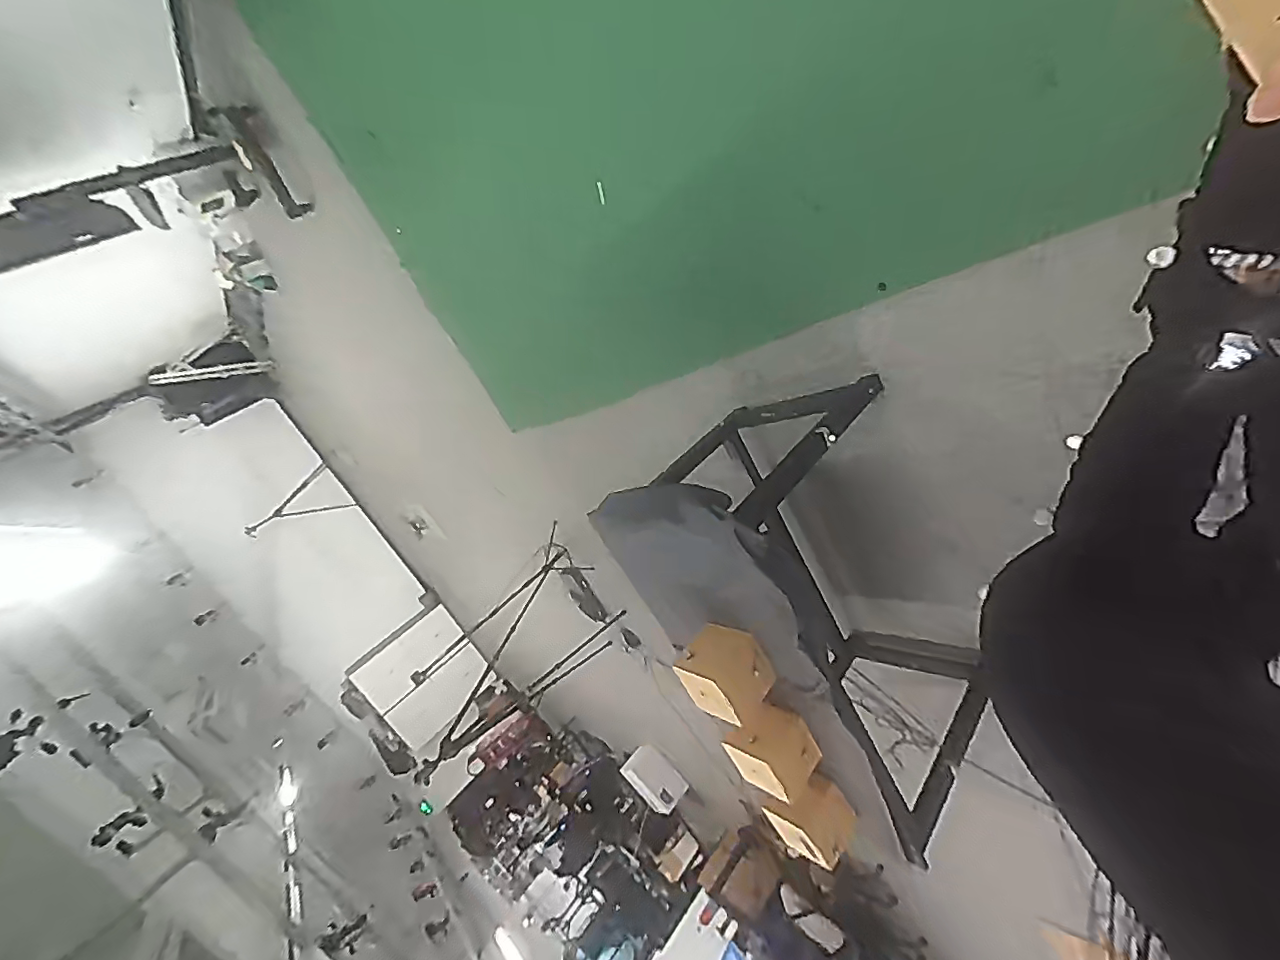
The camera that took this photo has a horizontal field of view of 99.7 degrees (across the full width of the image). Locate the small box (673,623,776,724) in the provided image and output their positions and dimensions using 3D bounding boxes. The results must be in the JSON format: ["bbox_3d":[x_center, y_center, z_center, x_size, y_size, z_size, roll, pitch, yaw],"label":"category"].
[{"bbox_3d":[0.227,0.504,1.436,0.179,0.176,0.168,-5,121,53],"label":"small box"}]

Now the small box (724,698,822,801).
[{"bbox_3d":[0.376,0.748,1.523,0.179,0.176,0.168,-6,119,53],"label":"small box"}]
